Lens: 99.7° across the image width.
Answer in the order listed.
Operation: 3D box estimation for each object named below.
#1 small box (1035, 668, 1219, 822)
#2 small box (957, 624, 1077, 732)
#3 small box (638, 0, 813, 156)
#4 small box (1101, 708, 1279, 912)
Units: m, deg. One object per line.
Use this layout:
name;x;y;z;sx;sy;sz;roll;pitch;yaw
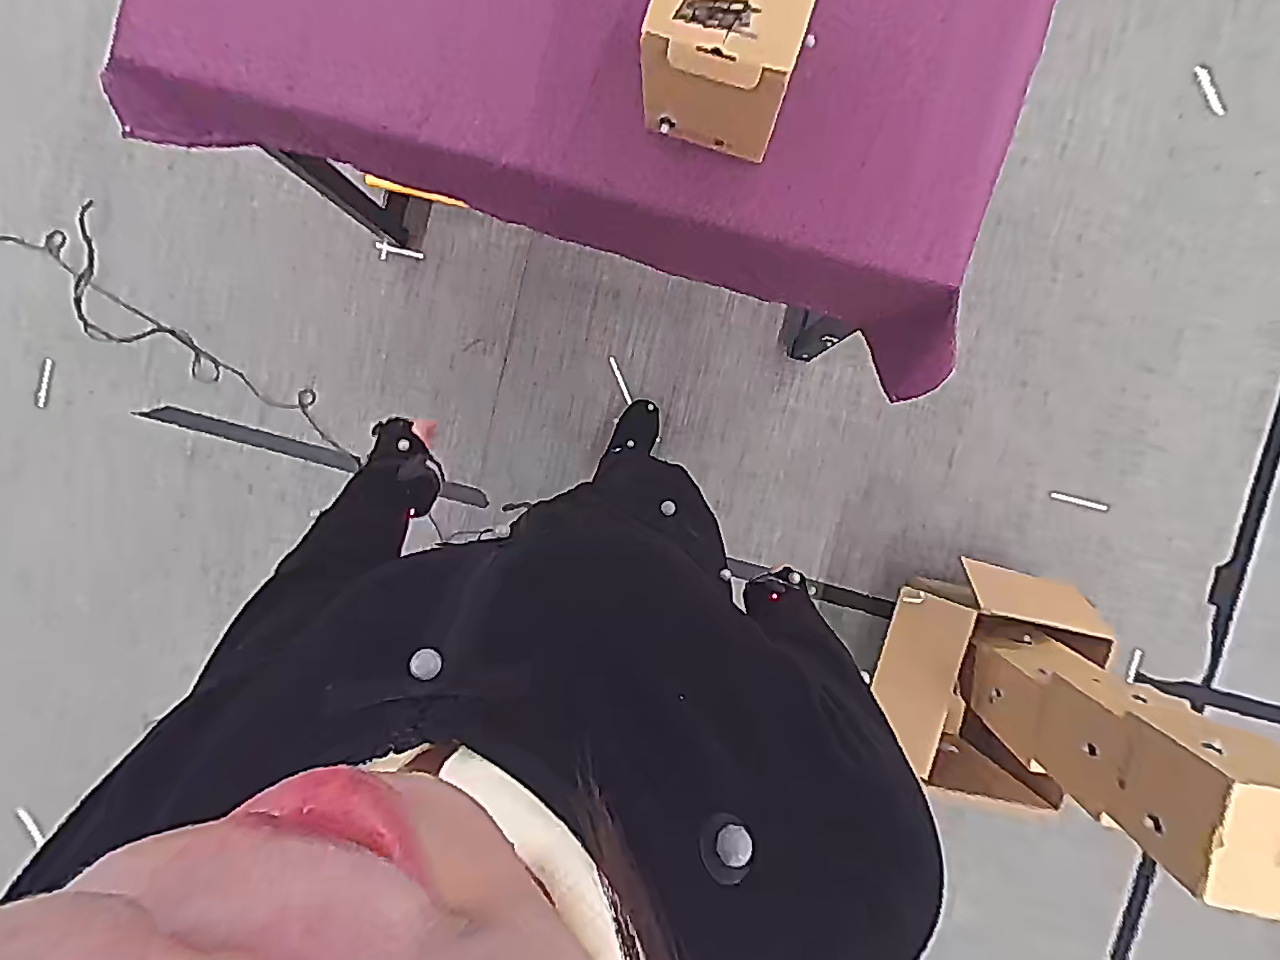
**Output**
small box;0.794;0.434;0.889;0.168;0.176;0.179;8;97;6
small box;0.840;0.435;1.217;0.168;0.176;0.179;-7;96;6
small box;0.104;-0.527;0.639;0.168;0.176;0.179;18;93;1
small box;0.781;0.432;0.726;0.179;0.176;0.168;8;97;5
